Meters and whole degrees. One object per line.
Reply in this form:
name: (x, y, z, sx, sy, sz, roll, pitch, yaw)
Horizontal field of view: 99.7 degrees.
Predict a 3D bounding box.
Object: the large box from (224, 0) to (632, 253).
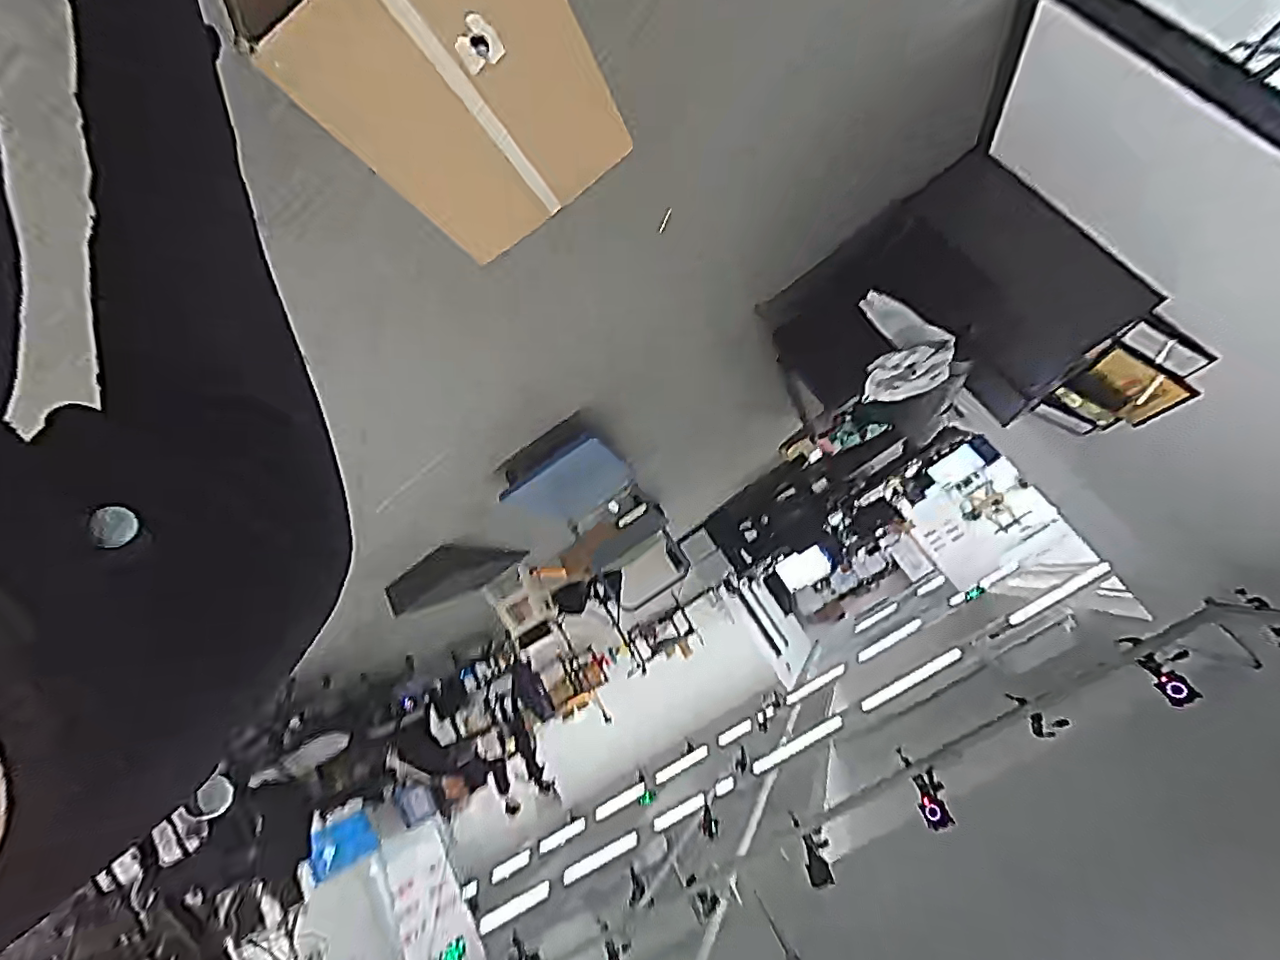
large box: (-0.268, -0.608, 0.728, 0.320, 0.320, 0.408, -32, 161, 12)
